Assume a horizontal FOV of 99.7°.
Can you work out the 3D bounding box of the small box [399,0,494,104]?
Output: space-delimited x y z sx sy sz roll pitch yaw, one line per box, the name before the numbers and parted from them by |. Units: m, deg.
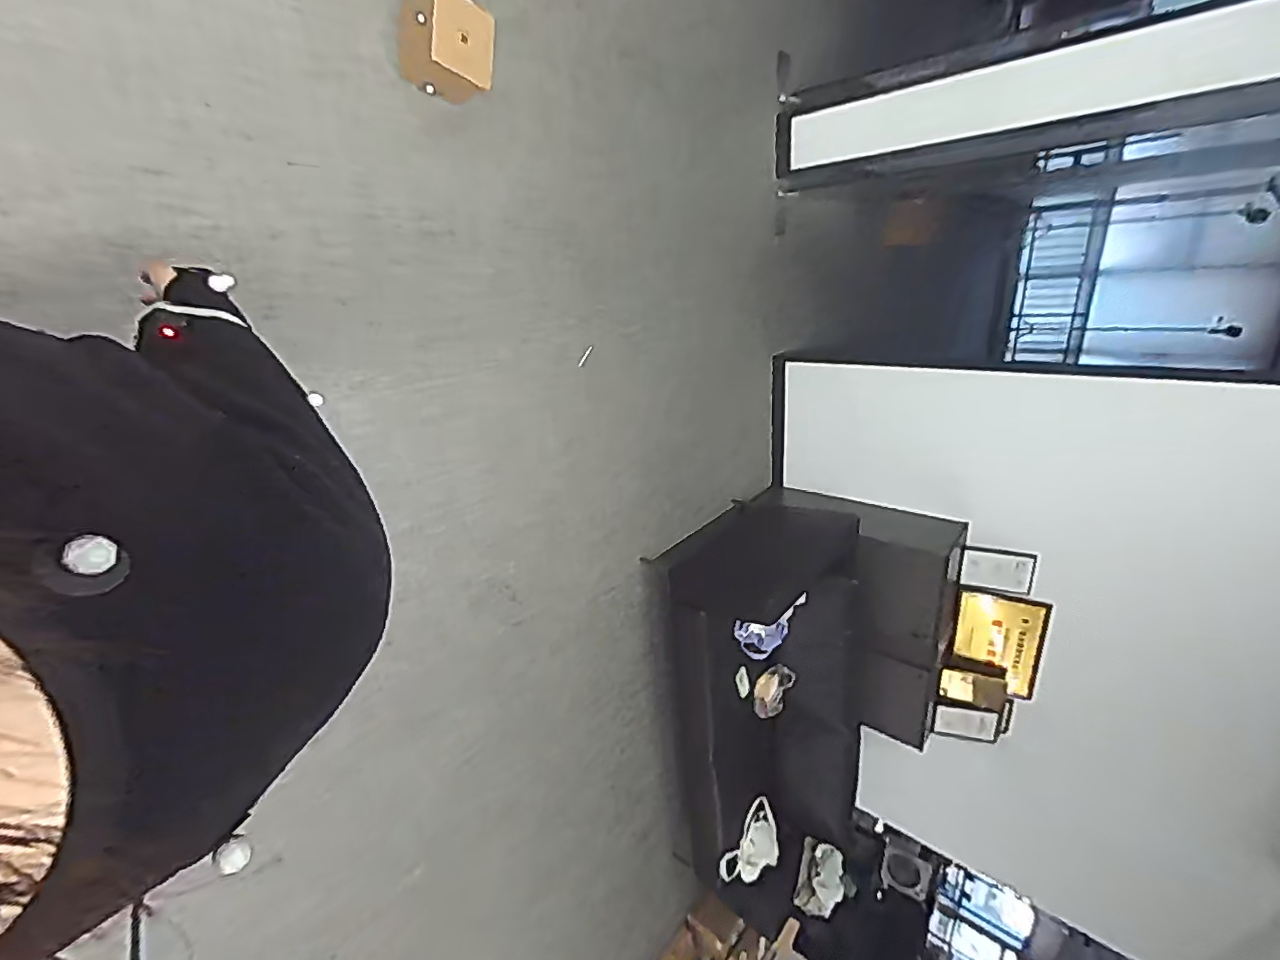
small box | -0.495 -1.106 1.377 0.168 0.176 0.179 -4 105 -49
